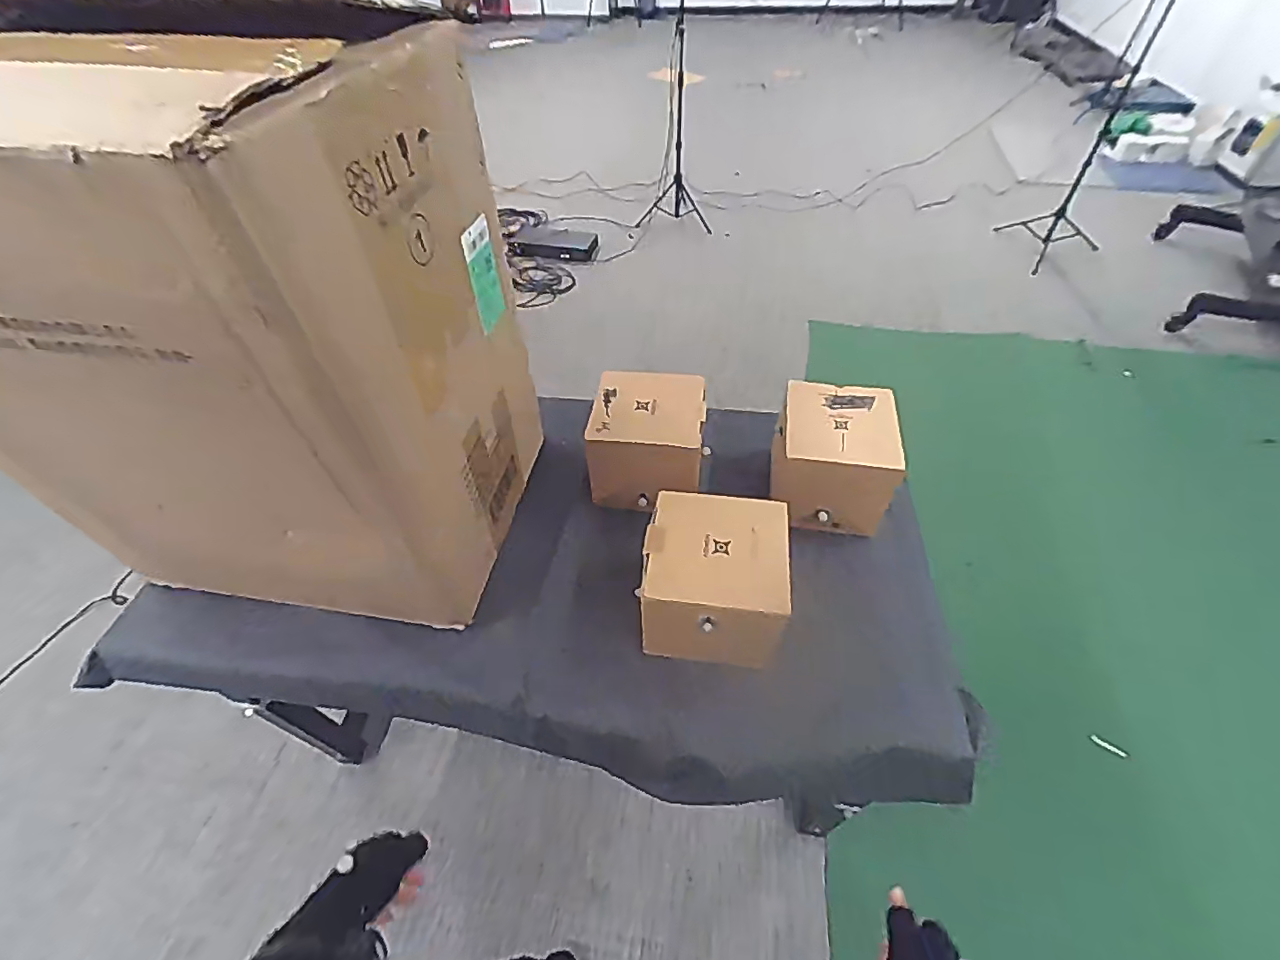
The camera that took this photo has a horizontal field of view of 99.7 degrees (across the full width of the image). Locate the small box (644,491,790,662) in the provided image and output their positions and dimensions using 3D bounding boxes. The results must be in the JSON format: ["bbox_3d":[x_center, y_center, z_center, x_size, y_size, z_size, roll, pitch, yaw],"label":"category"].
[{"bbox_3d":[0.103,0.136,0.748,0.179,0.176,0.168,6,51,6],"label":"small box"}]

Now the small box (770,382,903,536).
[{"bbox_3d":[0.308,-0.034,0.885,0.168,0.176,0.179,7,51,8],"label":"small box"}]
